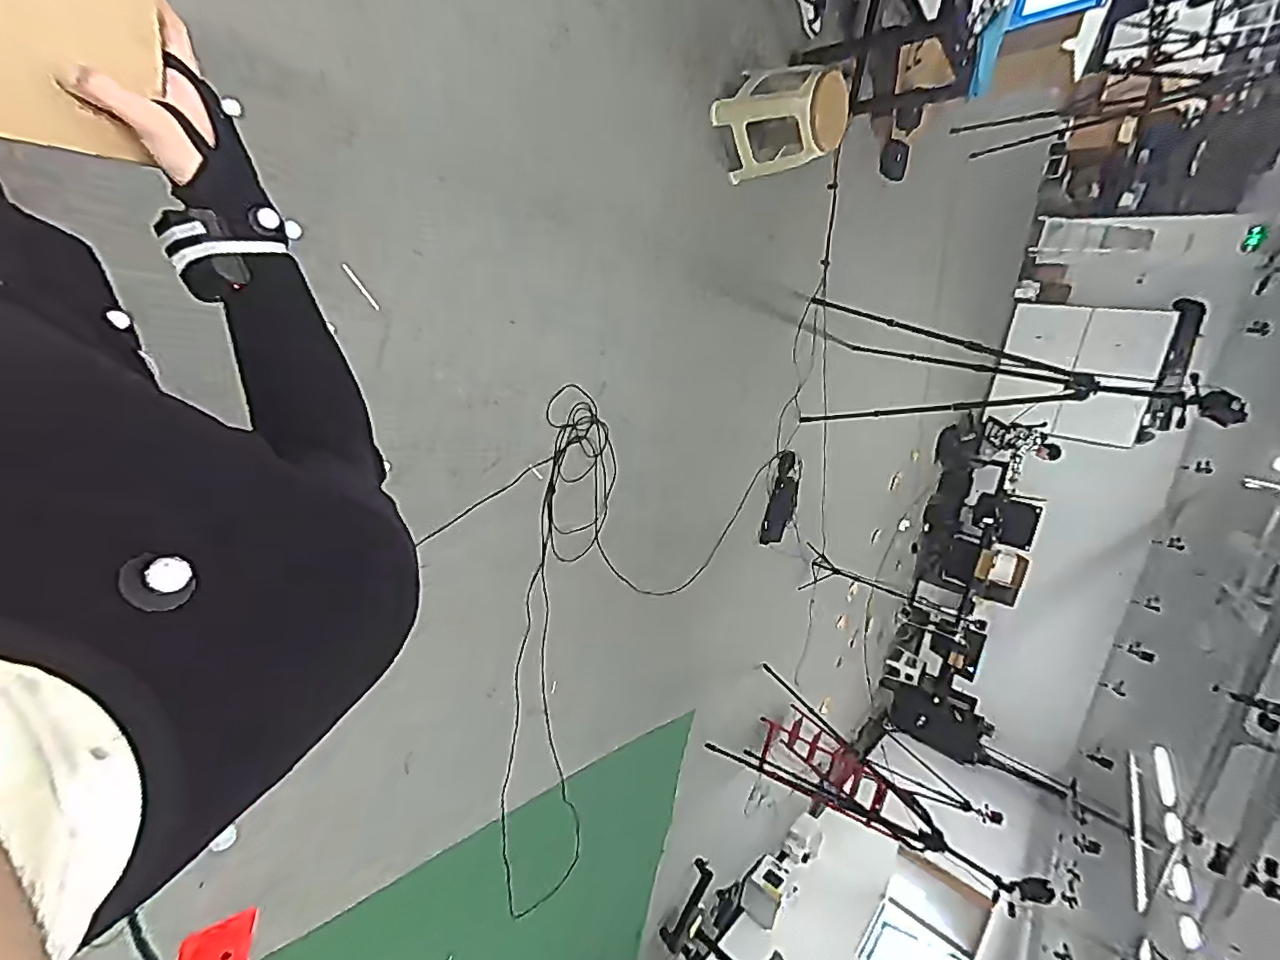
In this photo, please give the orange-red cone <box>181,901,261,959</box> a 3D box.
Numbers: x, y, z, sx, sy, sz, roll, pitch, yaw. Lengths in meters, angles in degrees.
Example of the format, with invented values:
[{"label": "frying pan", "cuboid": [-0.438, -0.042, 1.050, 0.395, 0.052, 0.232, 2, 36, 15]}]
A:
[{"label": "orange-red cone", "cuboid": [-1.194, 1.494, 1.596, 0.199, 0.360, 0.198, 8, 100, -53]}]
